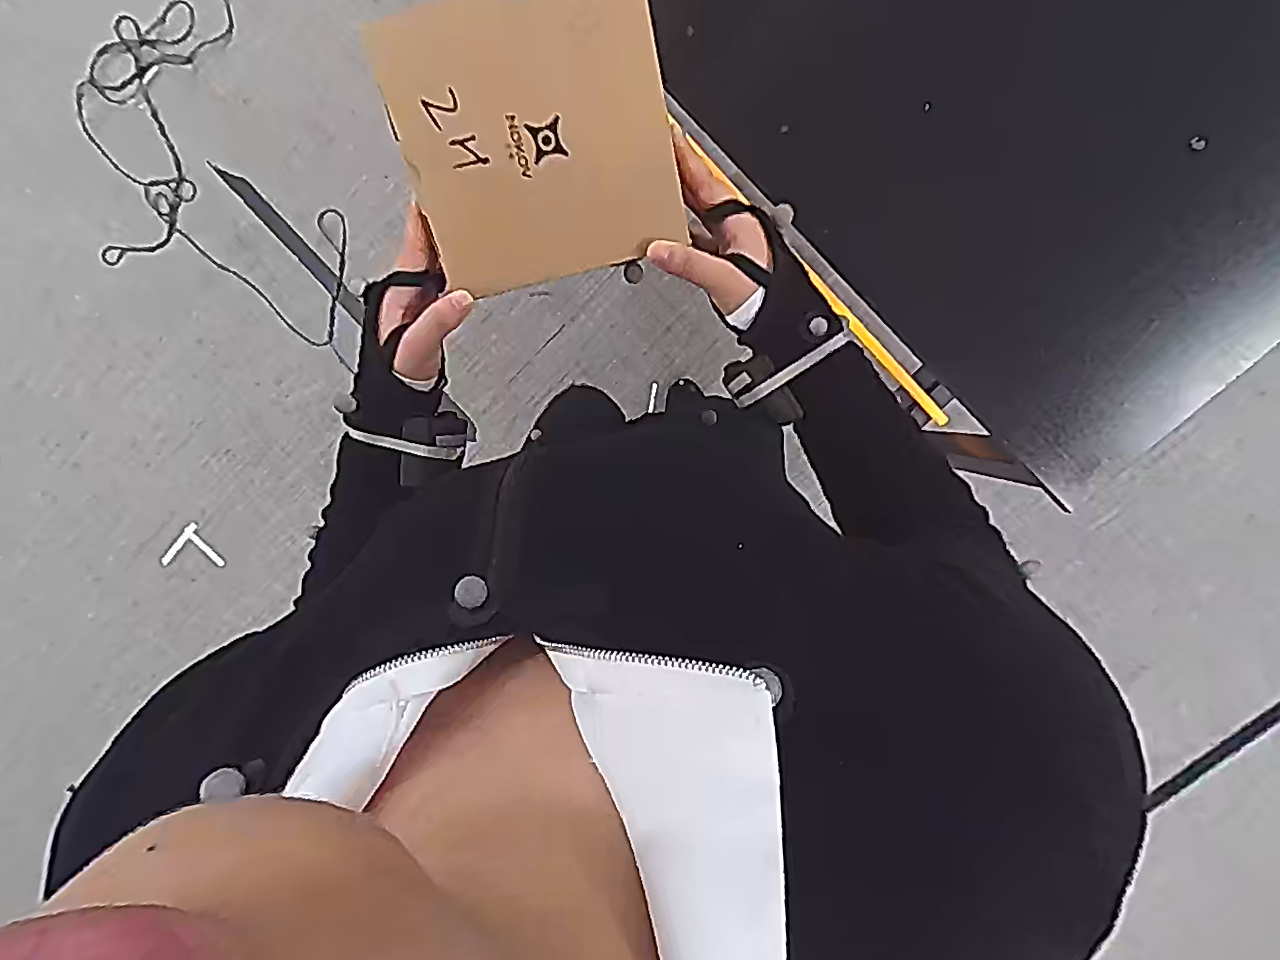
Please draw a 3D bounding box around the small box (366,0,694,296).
[{"bbox_3d":[-0.063,-0.252,0.418,0.179,0.176,0.168,-11,114,7],"label":"small box"}]
